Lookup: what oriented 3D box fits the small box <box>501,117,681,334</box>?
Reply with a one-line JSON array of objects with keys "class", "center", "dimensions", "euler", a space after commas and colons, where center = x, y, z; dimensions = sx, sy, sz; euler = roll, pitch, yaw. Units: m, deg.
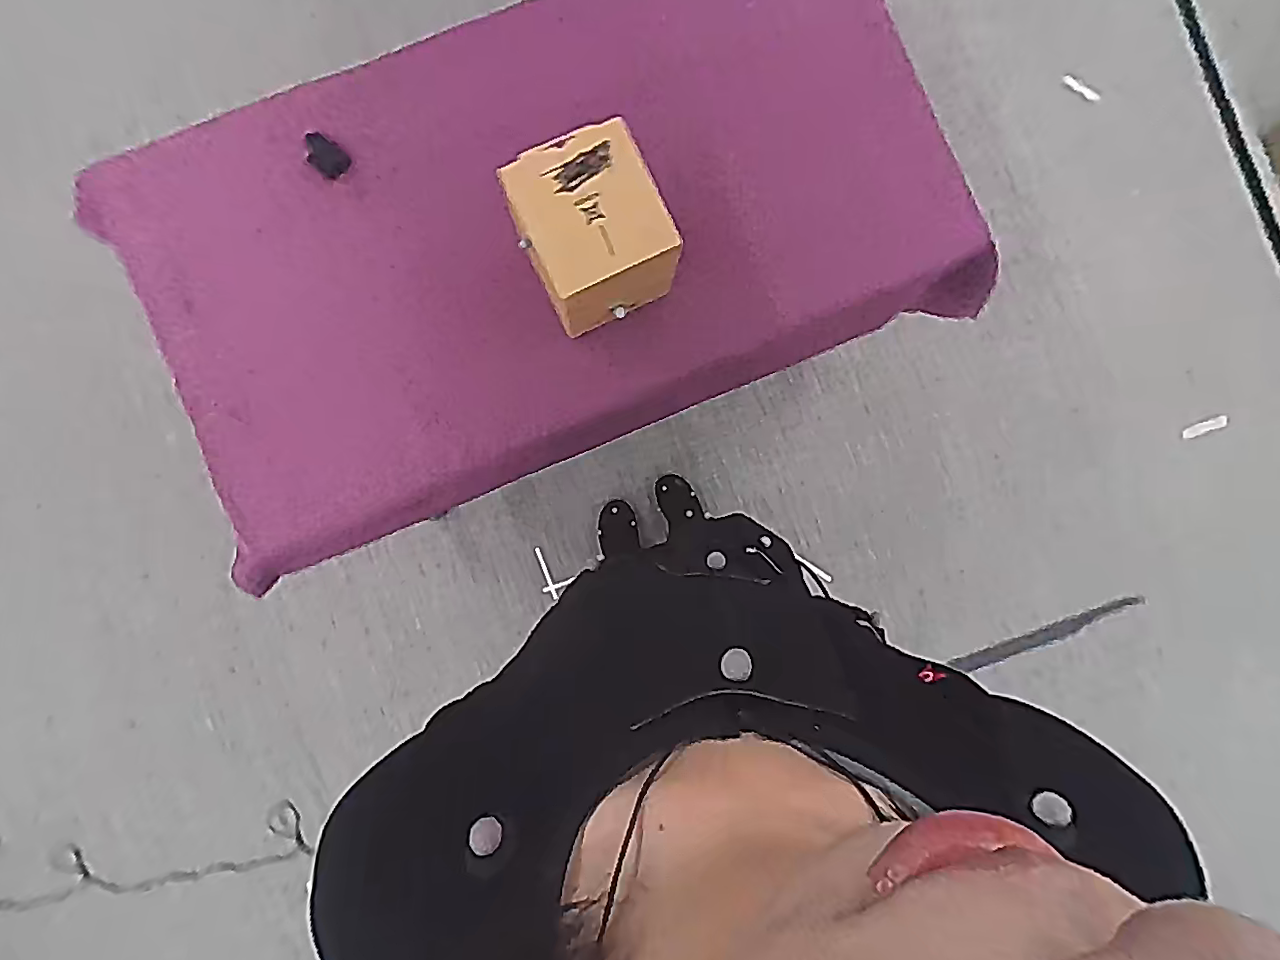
[{"class": "small box", "center": [-0.064, -0.326, 0.727], "dimensions": [0.168, 0.176, 0.179], "euler": [-26, 90, -3]}]
